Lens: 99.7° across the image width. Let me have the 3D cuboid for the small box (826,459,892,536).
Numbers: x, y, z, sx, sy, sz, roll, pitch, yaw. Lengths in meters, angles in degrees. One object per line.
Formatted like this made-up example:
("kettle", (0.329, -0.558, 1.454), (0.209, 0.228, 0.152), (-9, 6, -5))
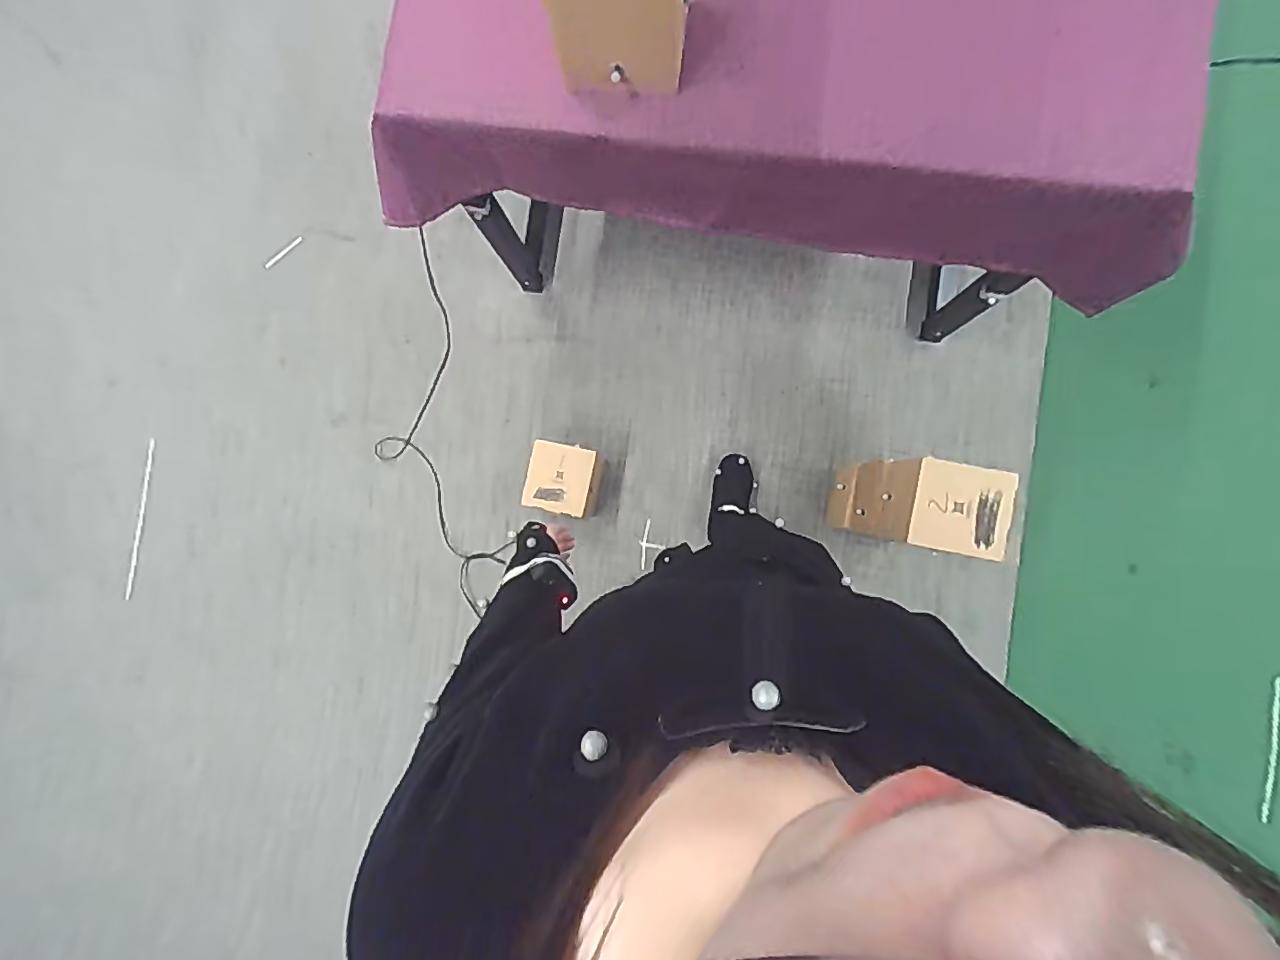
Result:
("small box", (0.599, 0.050, 1.397), (0.179, 0.176, 0.168), (12, 88, 4))

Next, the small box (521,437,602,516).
("small box", (-0.204, -0.006, 1.457), (0.168, 0.176, 0.179), (12, 87, 4))

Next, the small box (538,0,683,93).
("small box", (-0.032, -0.675, 0.747), (0.179, 0.176, 0.168), (7, 87, 4))

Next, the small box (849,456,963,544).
("small box", (0.596, 0.045, 1.235), (0.179, 0.176, 0.168), (10, 89, 3))
